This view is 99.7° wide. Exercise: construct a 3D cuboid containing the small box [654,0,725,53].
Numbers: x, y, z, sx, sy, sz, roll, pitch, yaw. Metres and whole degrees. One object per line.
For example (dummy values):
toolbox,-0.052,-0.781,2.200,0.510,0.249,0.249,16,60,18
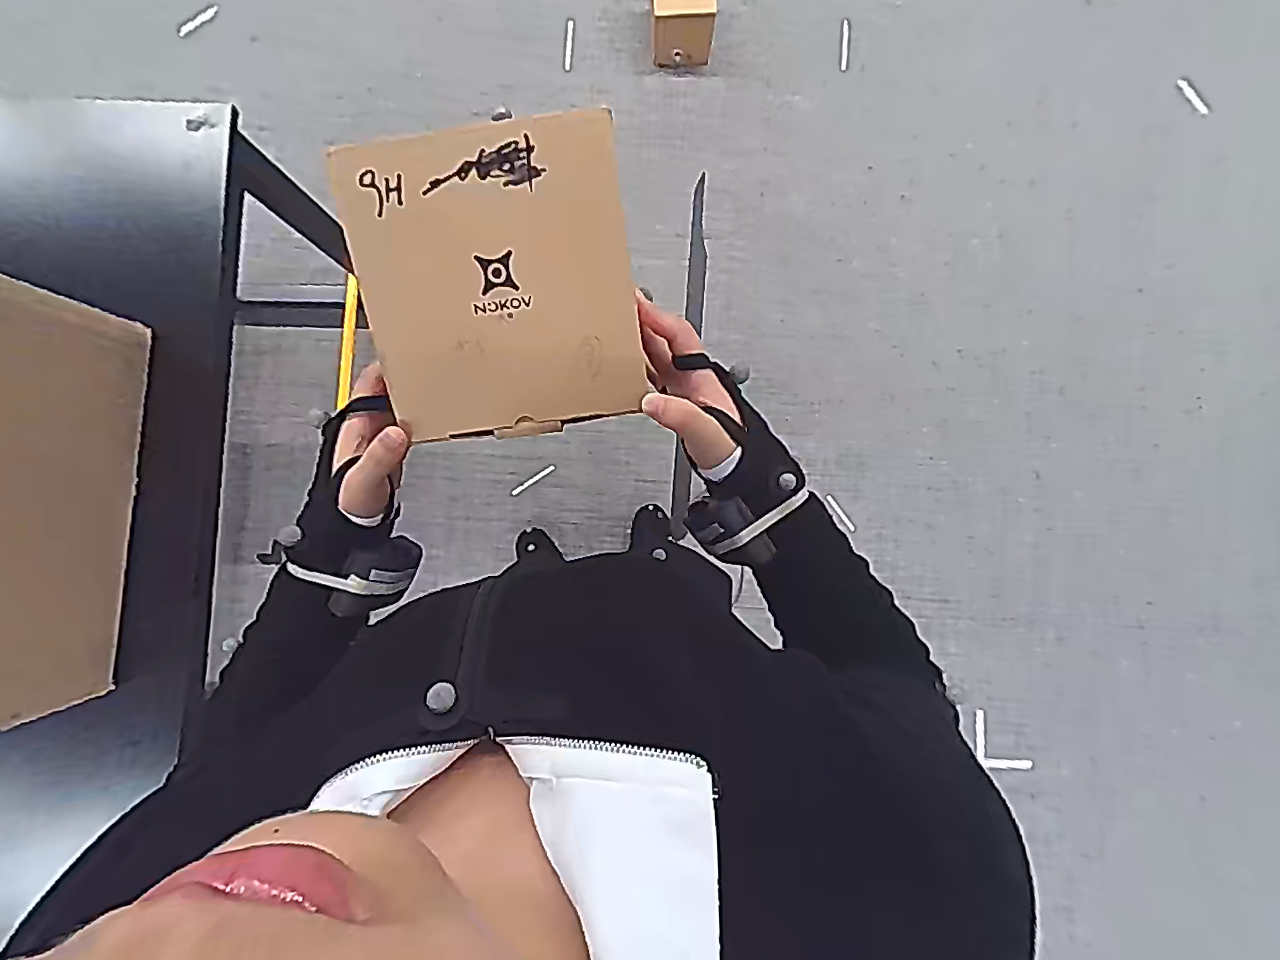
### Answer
small box,0.123,-1.263,1.405,0.168,0.176,0.179,-4,89,0
